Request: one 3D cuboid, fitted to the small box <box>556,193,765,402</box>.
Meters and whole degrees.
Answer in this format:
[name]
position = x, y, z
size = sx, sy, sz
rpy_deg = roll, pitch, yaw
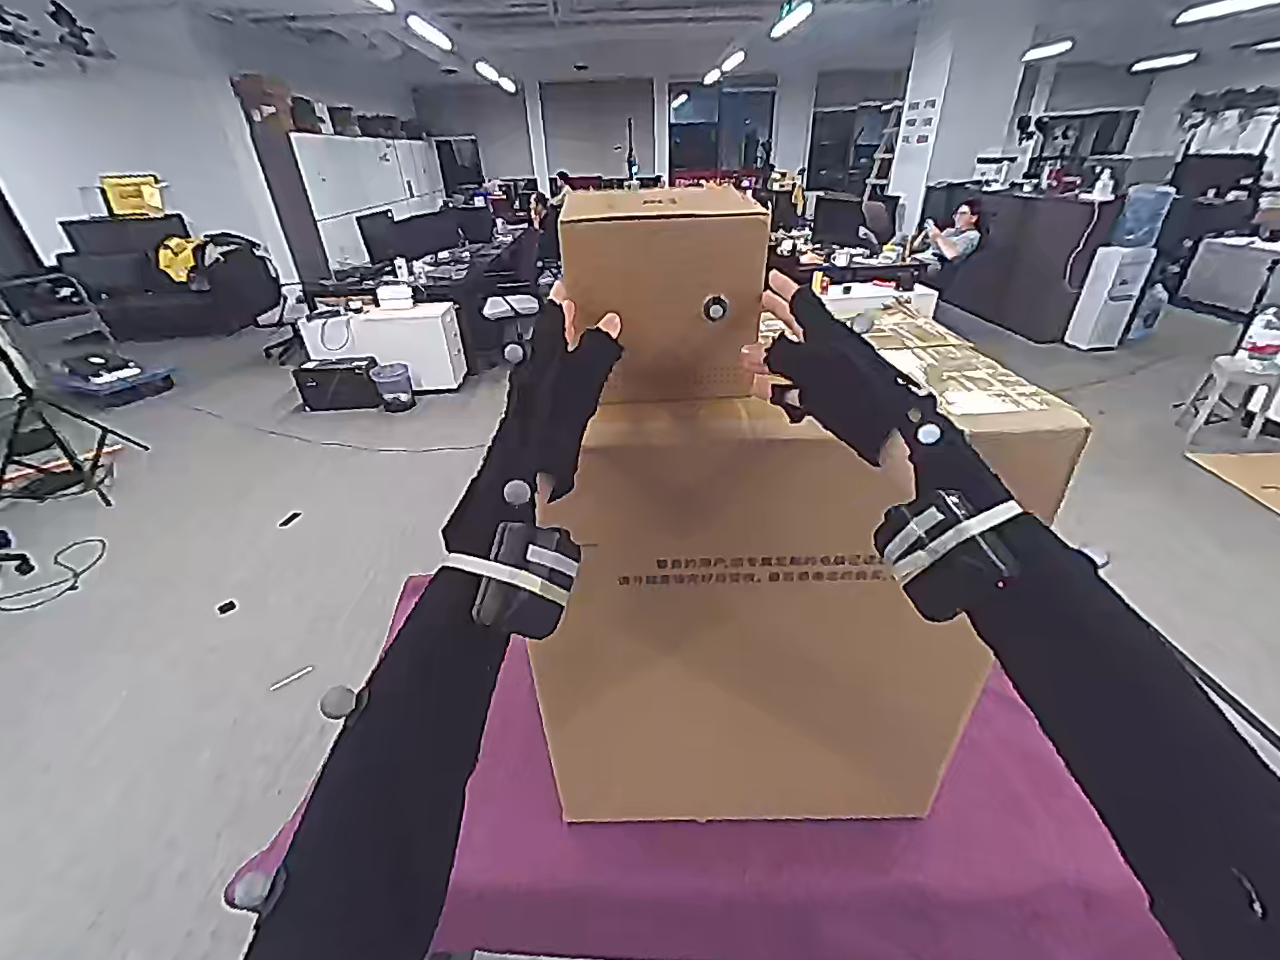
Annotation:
[small box]
position = 0.016, -0.189, 0.552
size = 0.179, 0.176, 0.168
rpy_deg = -4, 31, -2
